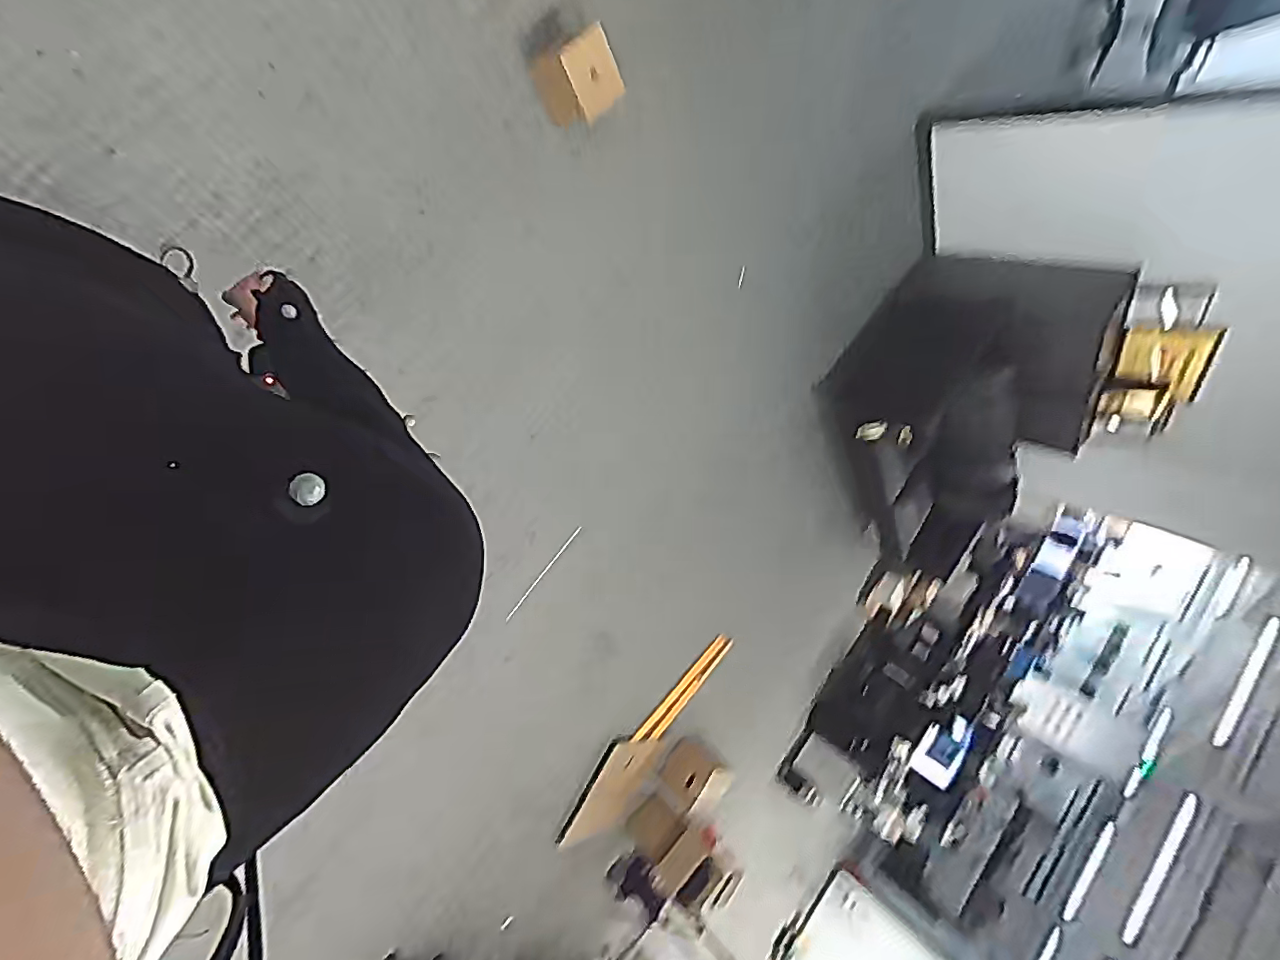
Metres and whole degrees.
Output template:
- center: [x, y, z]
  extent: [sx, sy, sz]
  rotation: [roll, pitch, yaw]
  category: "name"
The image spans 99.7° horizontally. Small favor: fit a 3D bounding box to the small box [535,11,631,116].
- center: [-0.163, -1.163, 1.524]
  extent: [0.168, 0.176, 0.179]
  rotation: [-49, 138, -12]
  category: "small box"
